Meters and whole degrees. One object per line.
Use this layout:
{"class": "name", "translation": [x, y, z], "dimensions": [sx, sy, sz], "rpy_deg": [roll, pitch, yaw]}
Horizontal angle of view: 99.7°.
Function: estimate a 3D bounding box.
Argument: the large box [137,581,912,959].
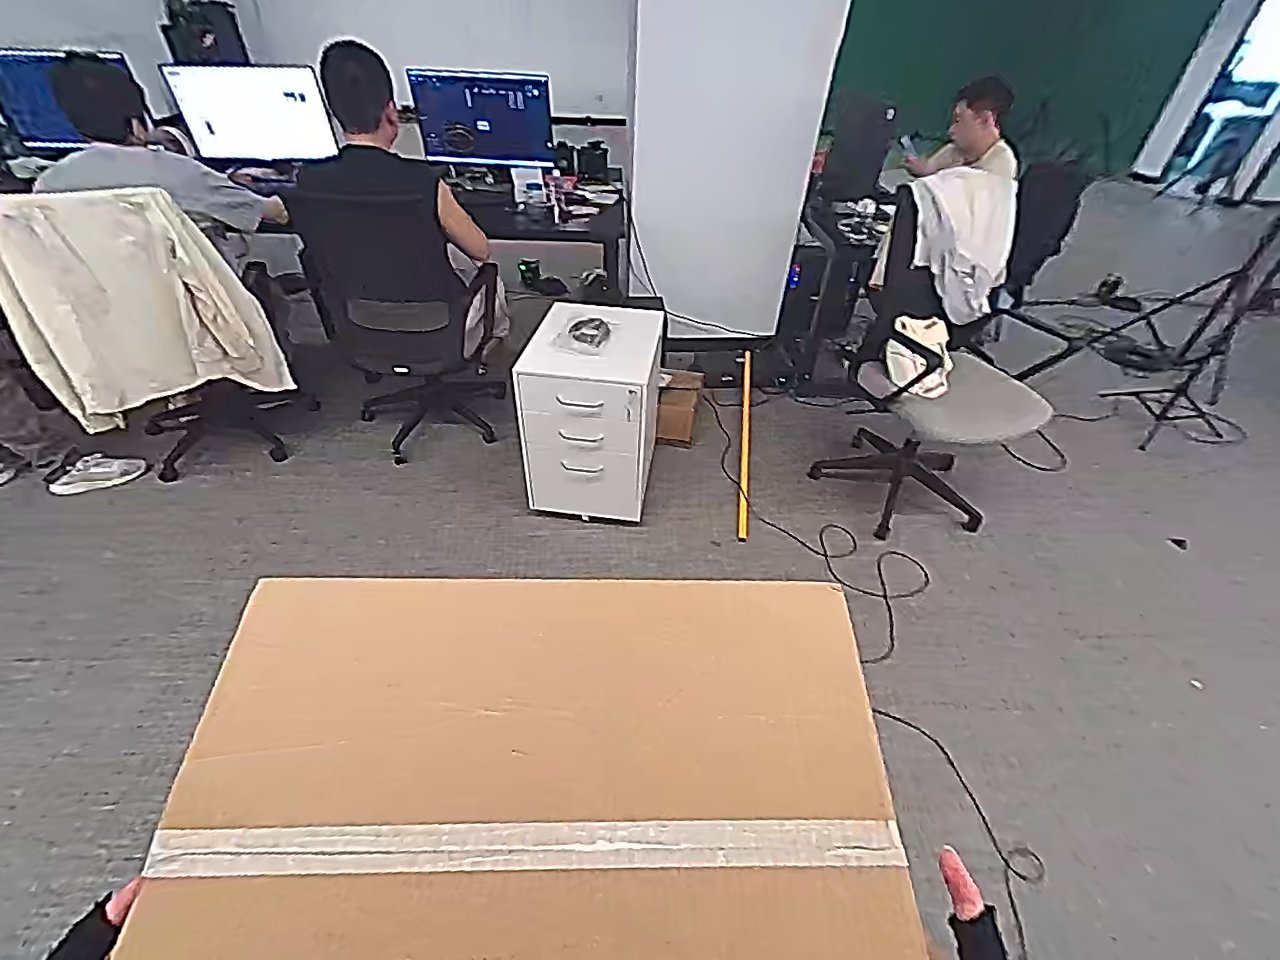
{"class": "large box", "translation": [-0.062, 0.284, 0.431], "dimensions": [0.408, 0.320, 0.320], "rpy_deg": [1, 57, -2]}
